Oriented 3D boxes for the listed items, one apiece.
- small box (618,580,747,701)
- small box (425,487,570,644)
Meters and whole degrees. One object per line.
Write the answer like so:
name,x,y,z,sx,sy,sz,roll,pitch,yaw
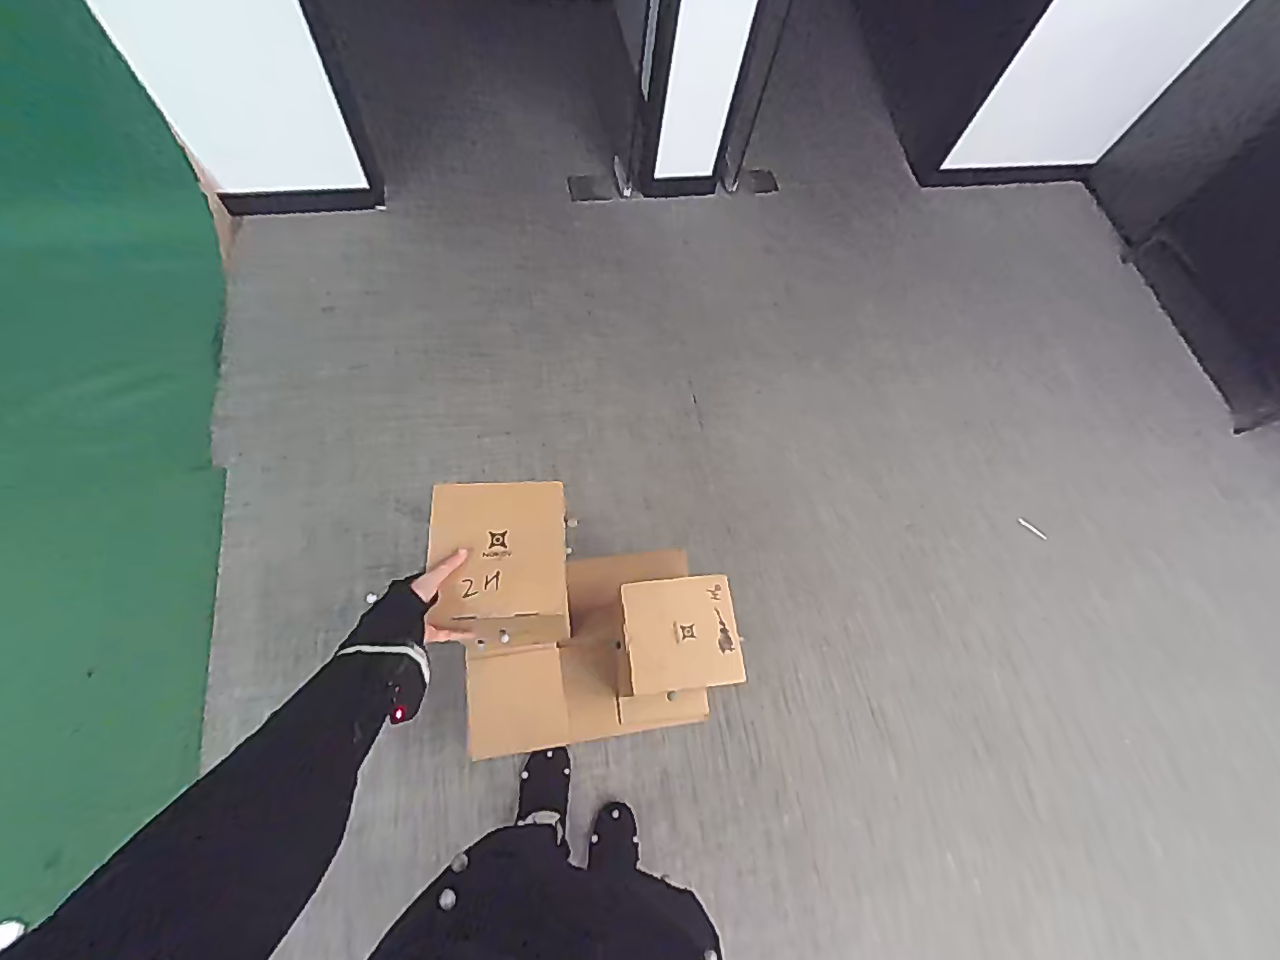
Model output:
small box,0.058,0.267,0.888,0.179,0.176,0.168,-4,69,-8
small box,-0.183,0.122,0.745,0.168,0.176,0.179,-2,67,-6
